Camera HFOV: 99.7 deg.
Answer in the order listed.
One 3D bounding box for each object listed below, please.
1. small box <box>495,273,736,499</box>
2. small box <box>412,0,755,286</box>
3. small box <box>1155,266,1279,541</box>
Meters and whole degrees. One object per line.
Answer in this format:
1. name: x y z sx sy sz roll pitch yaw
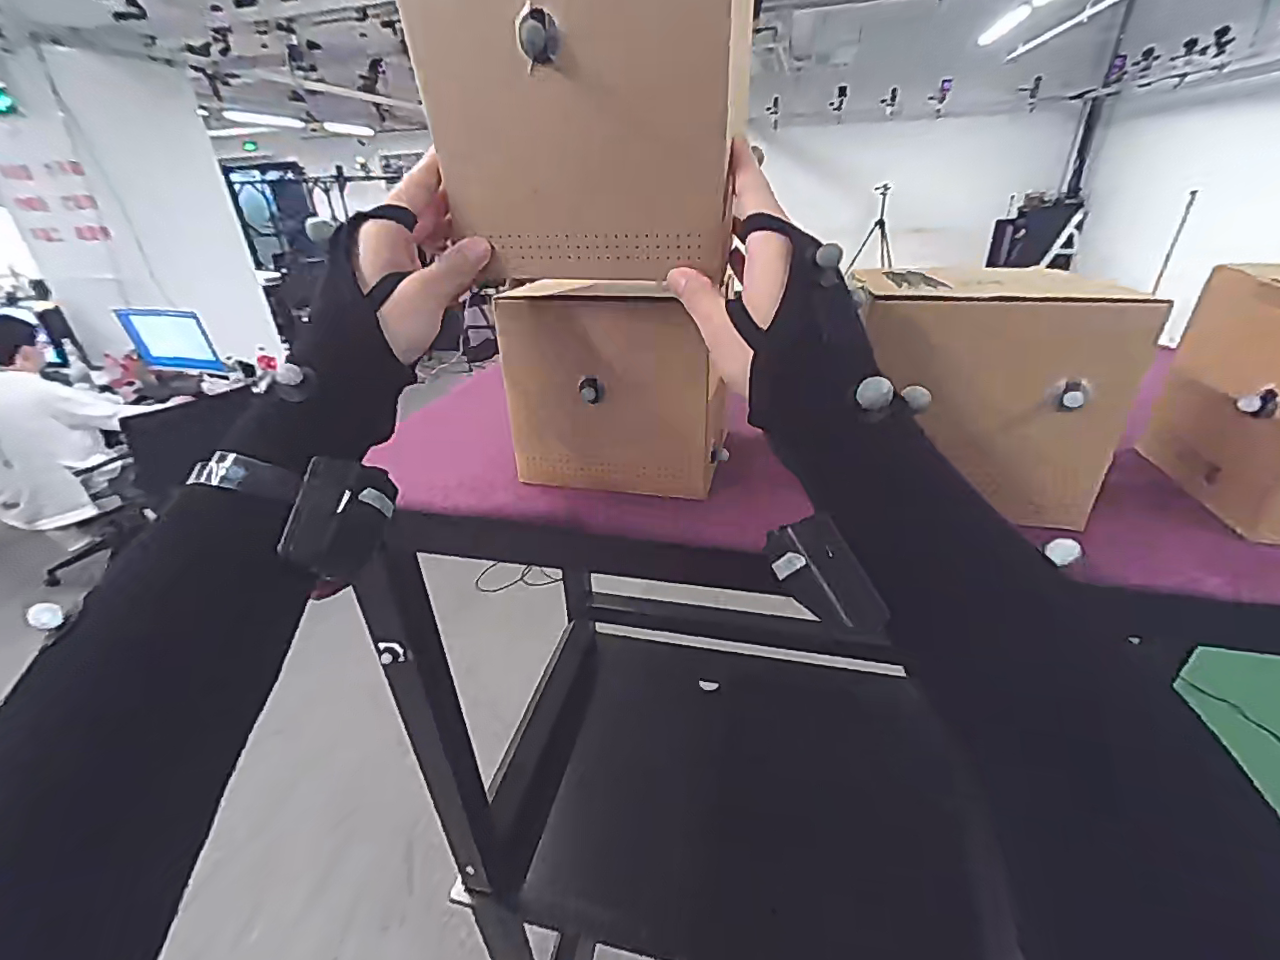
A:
1. small box: -0.009 -0.095 0.510 0.179 0.176 0.168 5 28 14
2. small box: -0.019 -0.240 0.365 0.179 0.176 0.168 6 40 12
3. small box: 0.530 -0.054 0.390 0.179 0.176 0.168 6 31 14
